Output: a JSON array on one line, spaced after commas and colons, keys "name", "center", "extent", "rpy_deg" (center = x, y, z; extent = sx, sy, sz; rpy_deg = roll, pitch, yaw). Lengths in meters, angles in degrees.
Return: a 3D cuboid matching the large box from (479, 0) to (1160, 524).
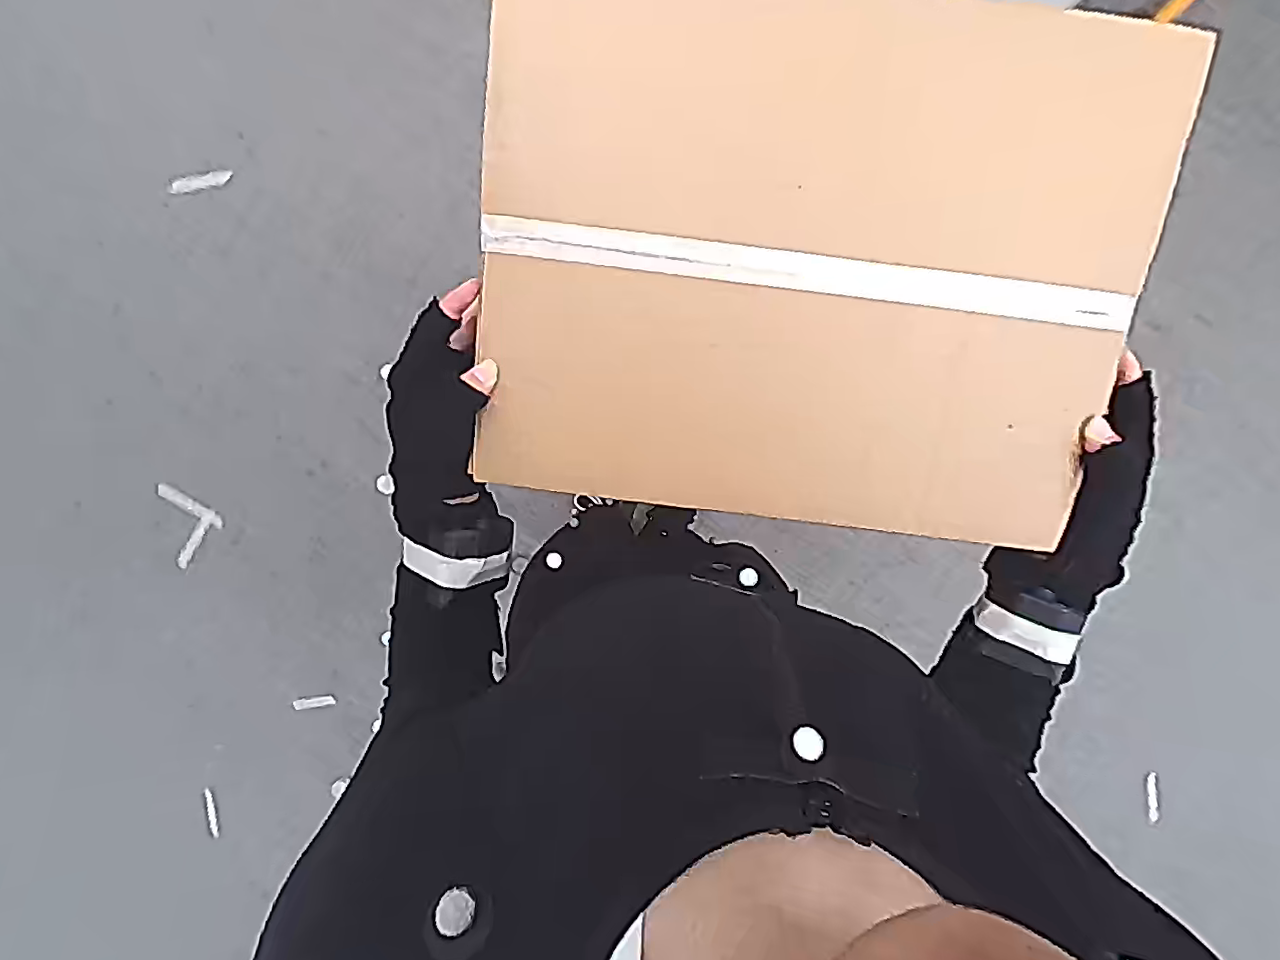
[{"name": "large box", "center": [0.095, -0.166, 0.492], "extent": [0.408, 0.320, 0.320], "rpy_deg": [6, 104, -2]}]
